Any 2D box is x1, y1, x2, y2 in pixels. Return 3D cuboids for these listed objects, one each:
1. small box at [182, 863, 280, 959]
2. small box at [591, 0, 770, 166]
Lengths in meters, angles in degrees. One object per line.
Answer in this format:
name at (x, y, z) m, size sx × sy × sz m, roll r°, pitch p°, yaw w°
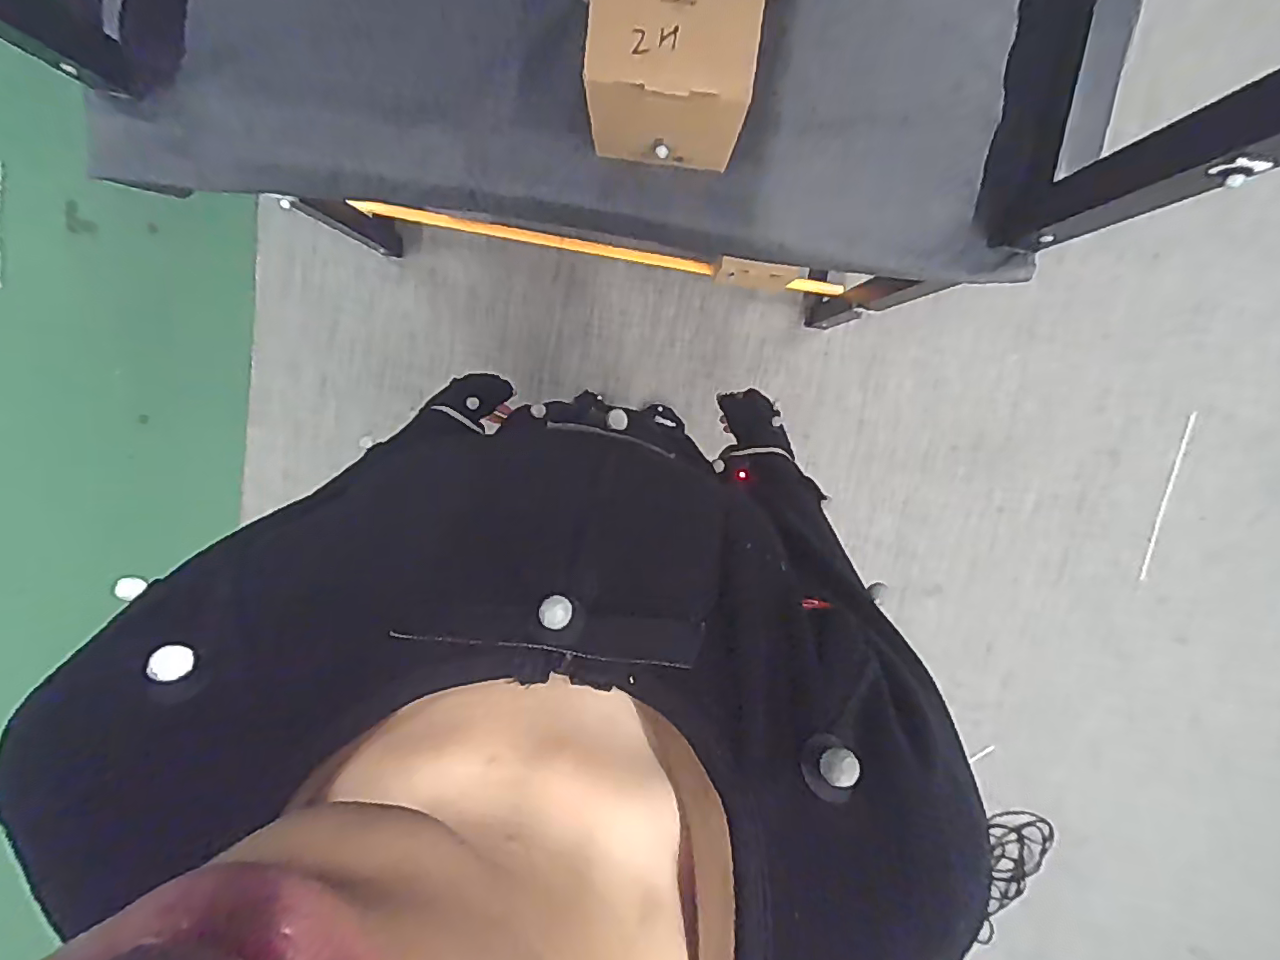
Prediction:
small box at (-1.208, 1.296, 1.607) m, size 0.168 × 0.176 × 0.179 m, roll 11°, pitch 98°, yaw -2°
small box at (0.043, -0.480, 0.590) m, size 0.168 × 0.176 × 0.179 m, roll 7°, pitch 98°, yaw -1°
